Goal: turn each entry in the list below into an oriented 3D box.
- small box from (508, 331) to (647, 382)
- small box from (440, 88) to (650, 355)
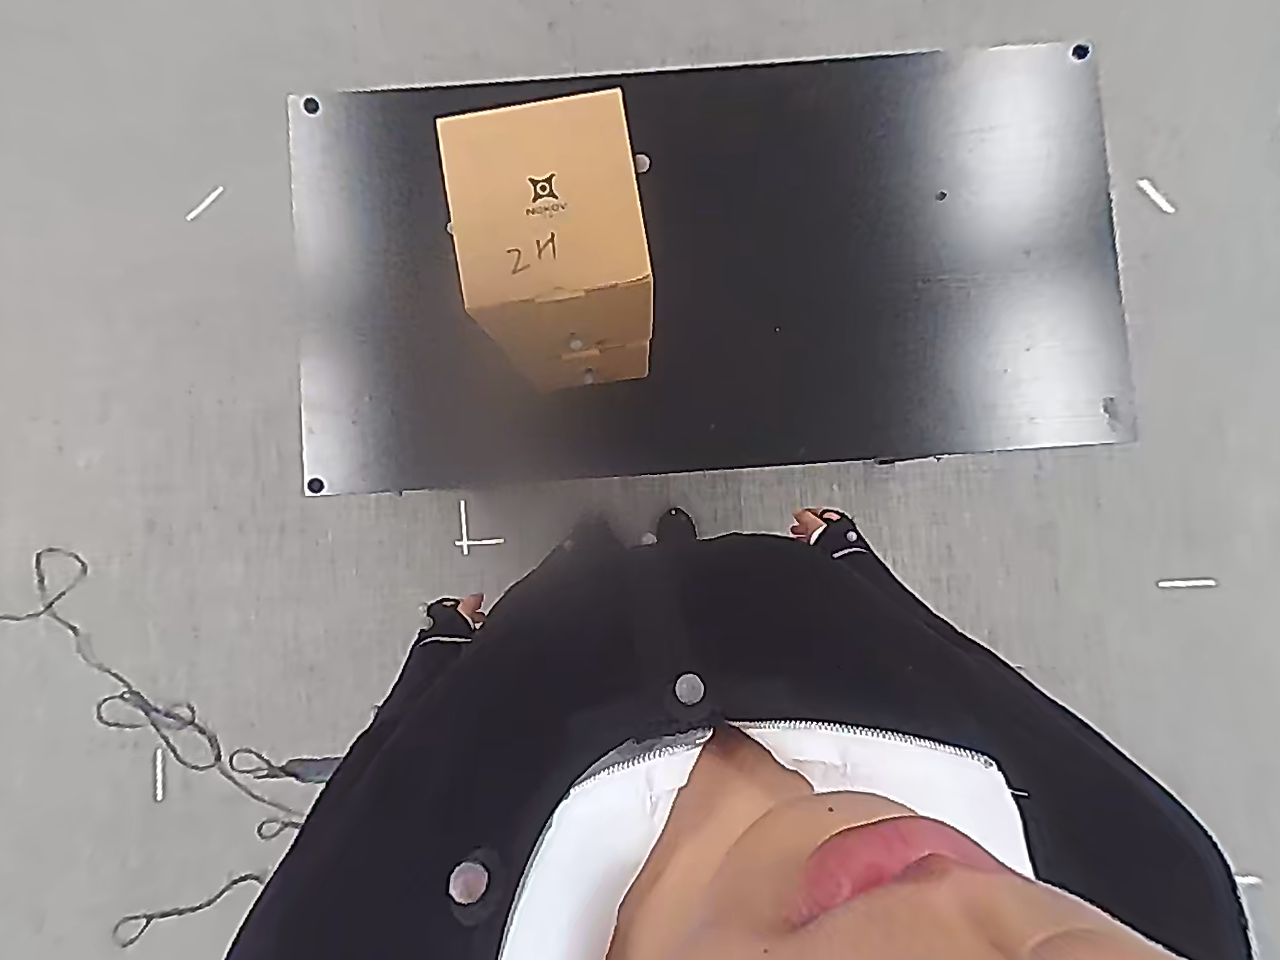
[{"bbox_3d":[-0.082,-0.234,0.718,0.168,0.176,0.179,-8,88,1],"label":"small box"},{"bbox_3d":[-0.084,-0.245,0.552,0.168,0.176,0.179,-9,87,1],"label":"small box"}]
